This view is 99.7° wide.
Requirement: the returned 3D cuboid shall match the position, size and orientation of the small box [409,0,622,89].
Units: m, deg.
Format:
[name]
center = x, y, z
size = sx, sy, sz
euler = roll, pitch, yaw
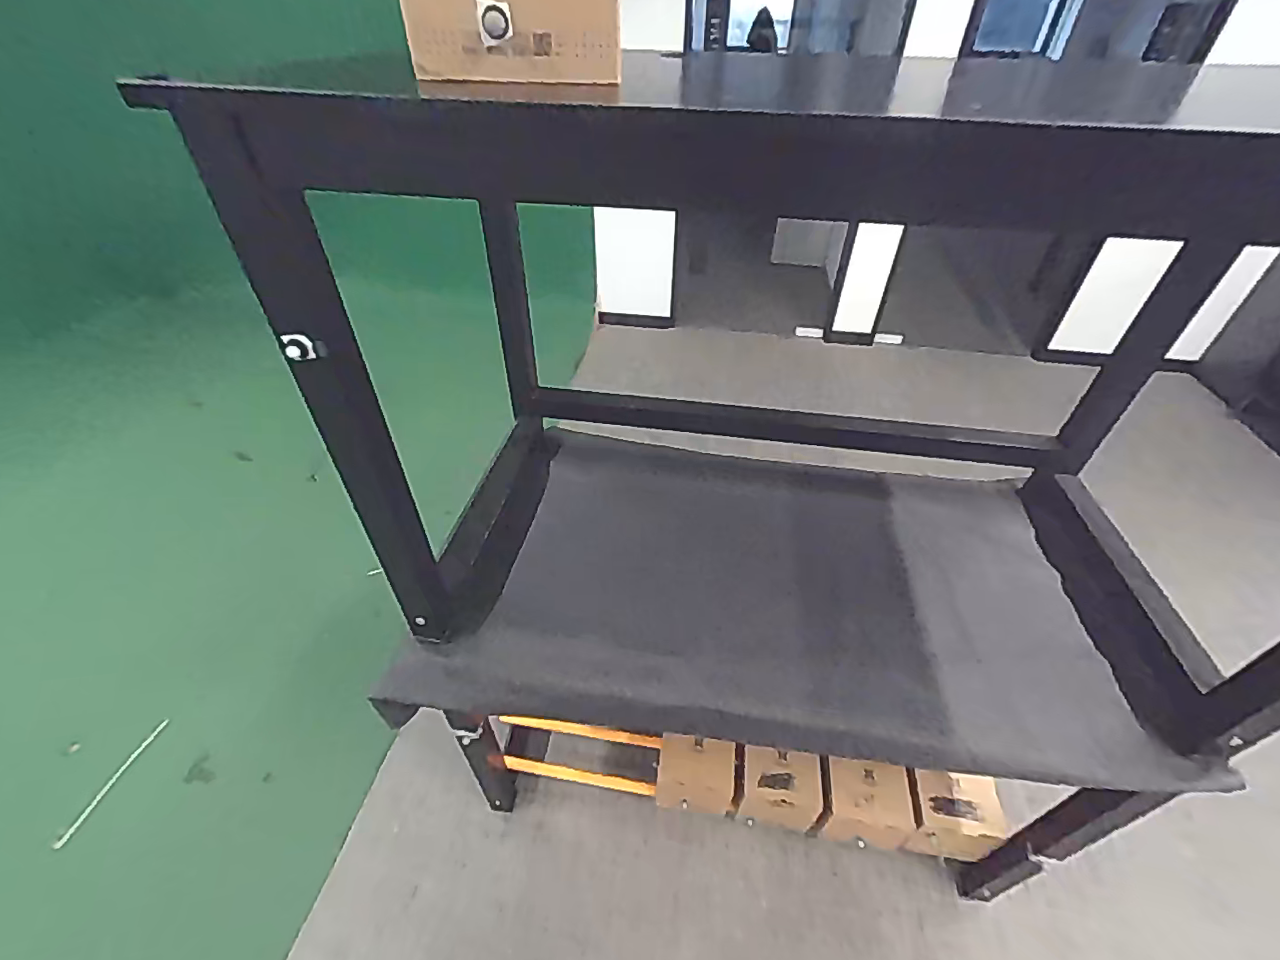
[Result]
[small box]
center = -0.101, -0.442, 0.452
size = 0.168, 0.176, 0.179
euler = -2, 42, -2
